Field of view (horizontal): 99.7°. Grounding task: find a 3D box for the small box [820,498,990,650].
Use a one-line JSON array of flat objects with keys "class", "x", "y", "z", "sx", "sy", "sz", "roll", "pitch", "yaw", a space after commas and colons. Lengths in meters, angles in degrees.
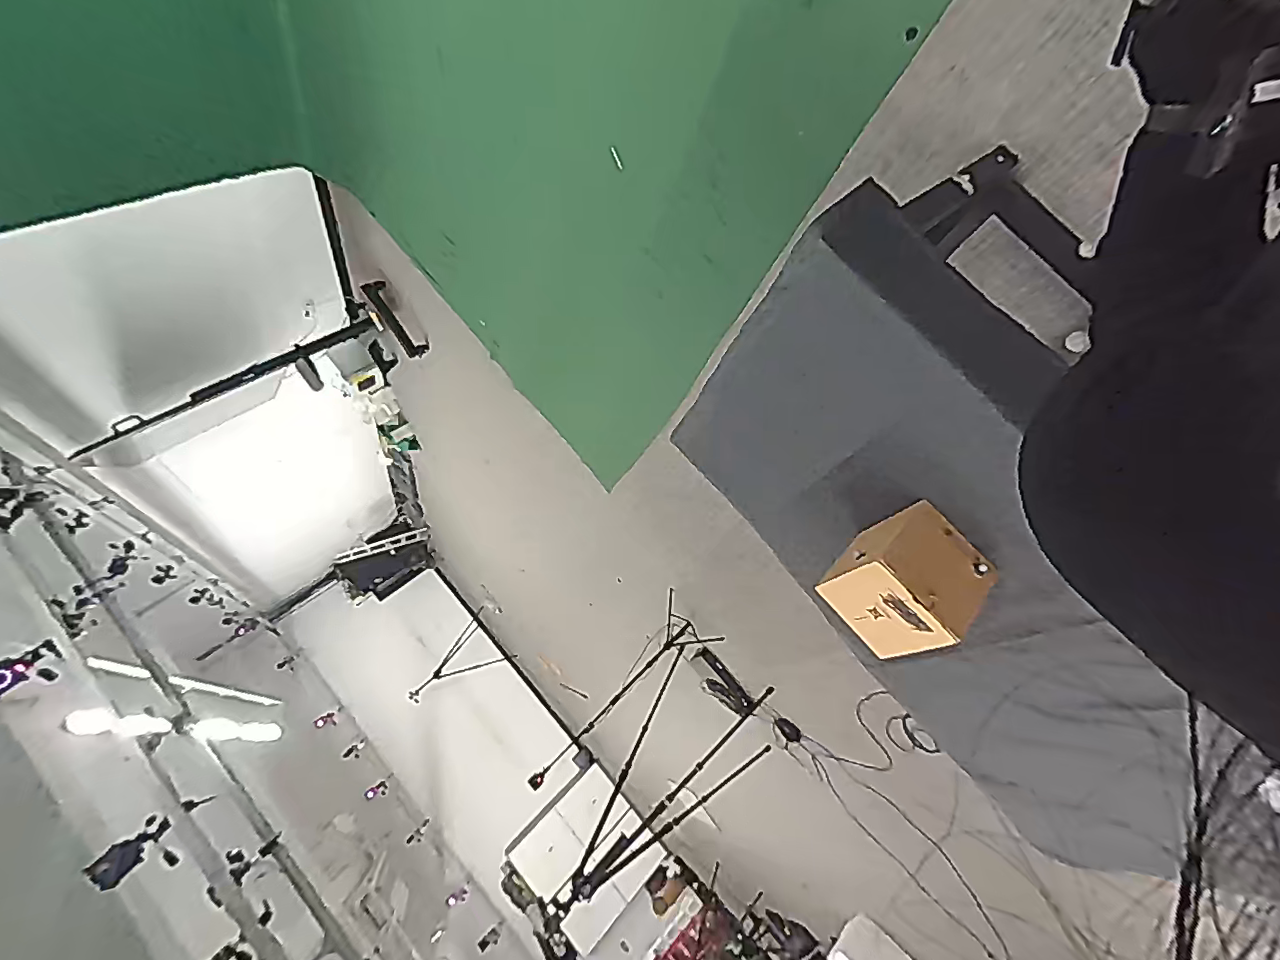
[{"class": "small box", "x": 0.451, "y": 0.157, "z": 0.915, "sx": 0.168, "sy": 0.176, "sz": 0.179, "roll": 48, "pitch": 152, "yaw": 8}]
